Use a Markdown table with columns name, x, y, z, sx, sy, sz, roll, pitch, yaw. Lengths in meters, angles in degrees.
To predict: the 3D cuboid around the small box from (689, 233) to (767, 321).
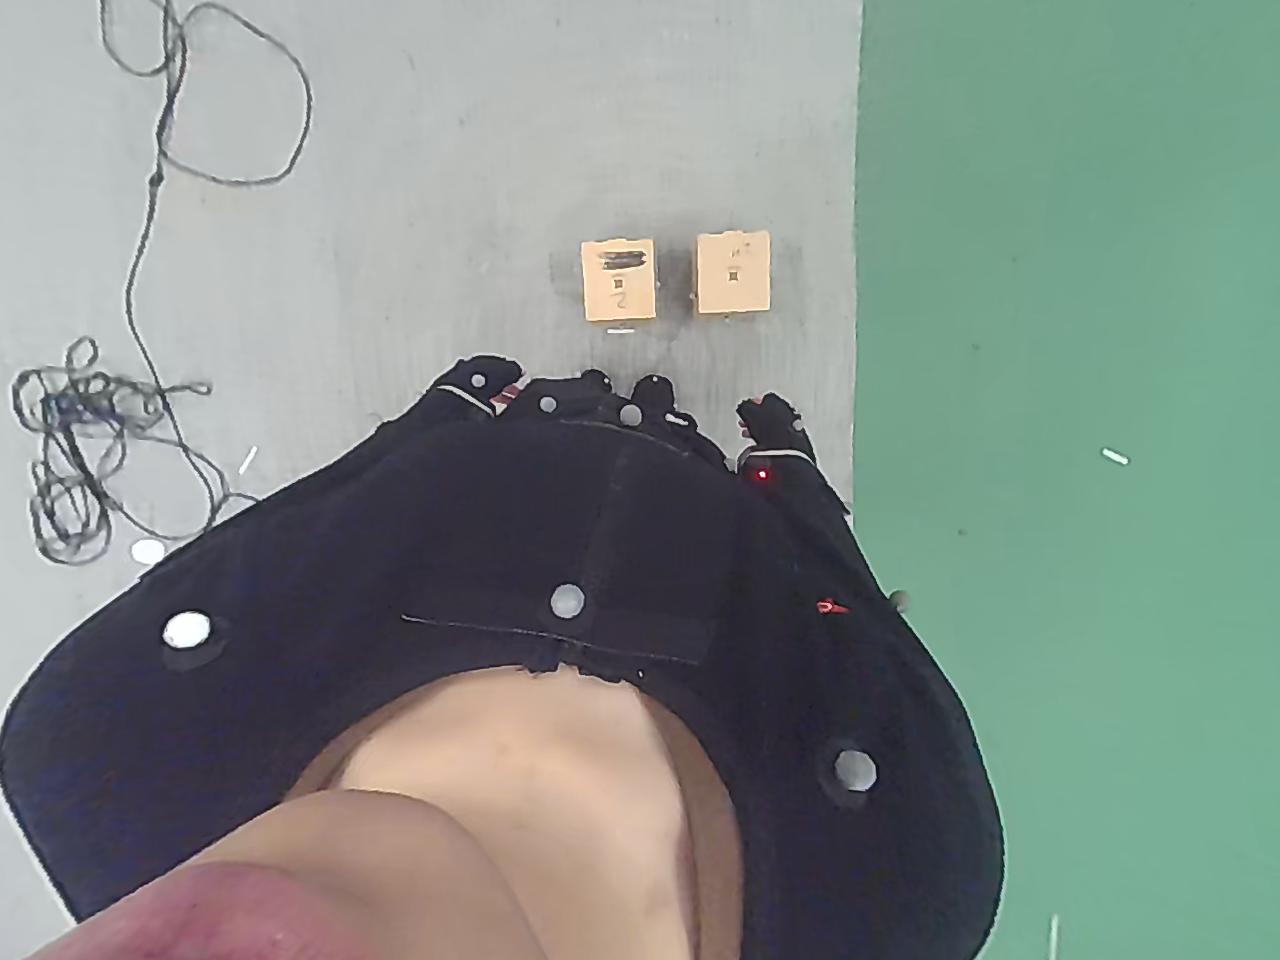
| name | x | y | z | sx | sy | sz | roll | pitch | yaw |
| --- | --- | --- | --- | --- | --- | --- | --- | --- | --- |
| small box | 0.208 | -0.479 | 1.303 | 0.168 | 0.176 | 0.179 | -3 | 100 | 1 |
